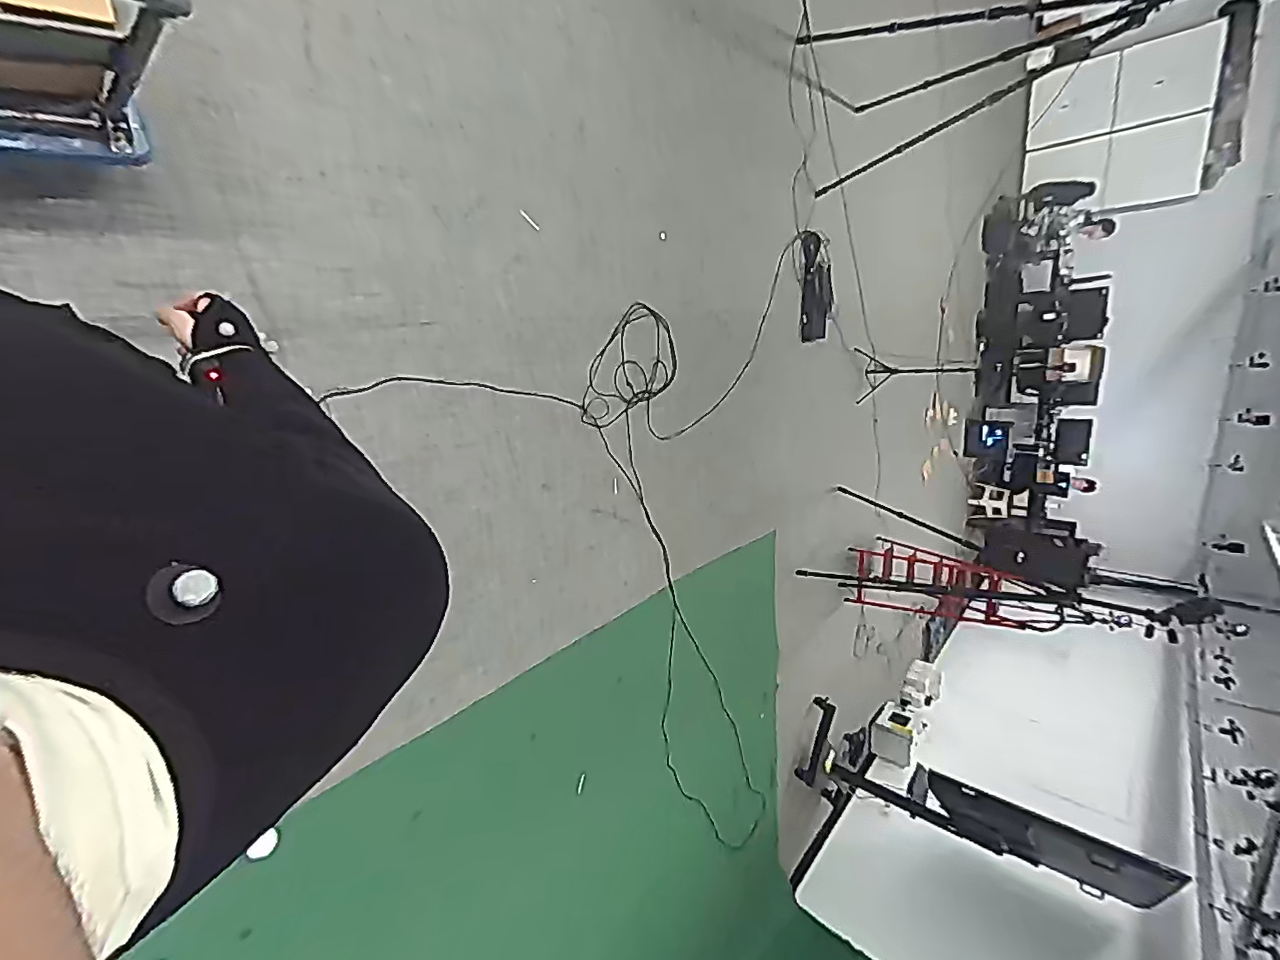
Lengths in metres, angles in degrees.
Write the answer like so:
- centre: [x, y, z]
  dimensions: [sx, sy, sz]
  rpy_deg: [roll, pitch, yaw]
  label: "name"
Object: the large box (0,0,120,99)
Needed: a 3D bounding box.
- centre: [-1.024, -0.828, 0.756]
  dimensions: [0.320, 0.320, 0.408]
  rpy_deg: [-27, 115, -42]
  label: "large box"
